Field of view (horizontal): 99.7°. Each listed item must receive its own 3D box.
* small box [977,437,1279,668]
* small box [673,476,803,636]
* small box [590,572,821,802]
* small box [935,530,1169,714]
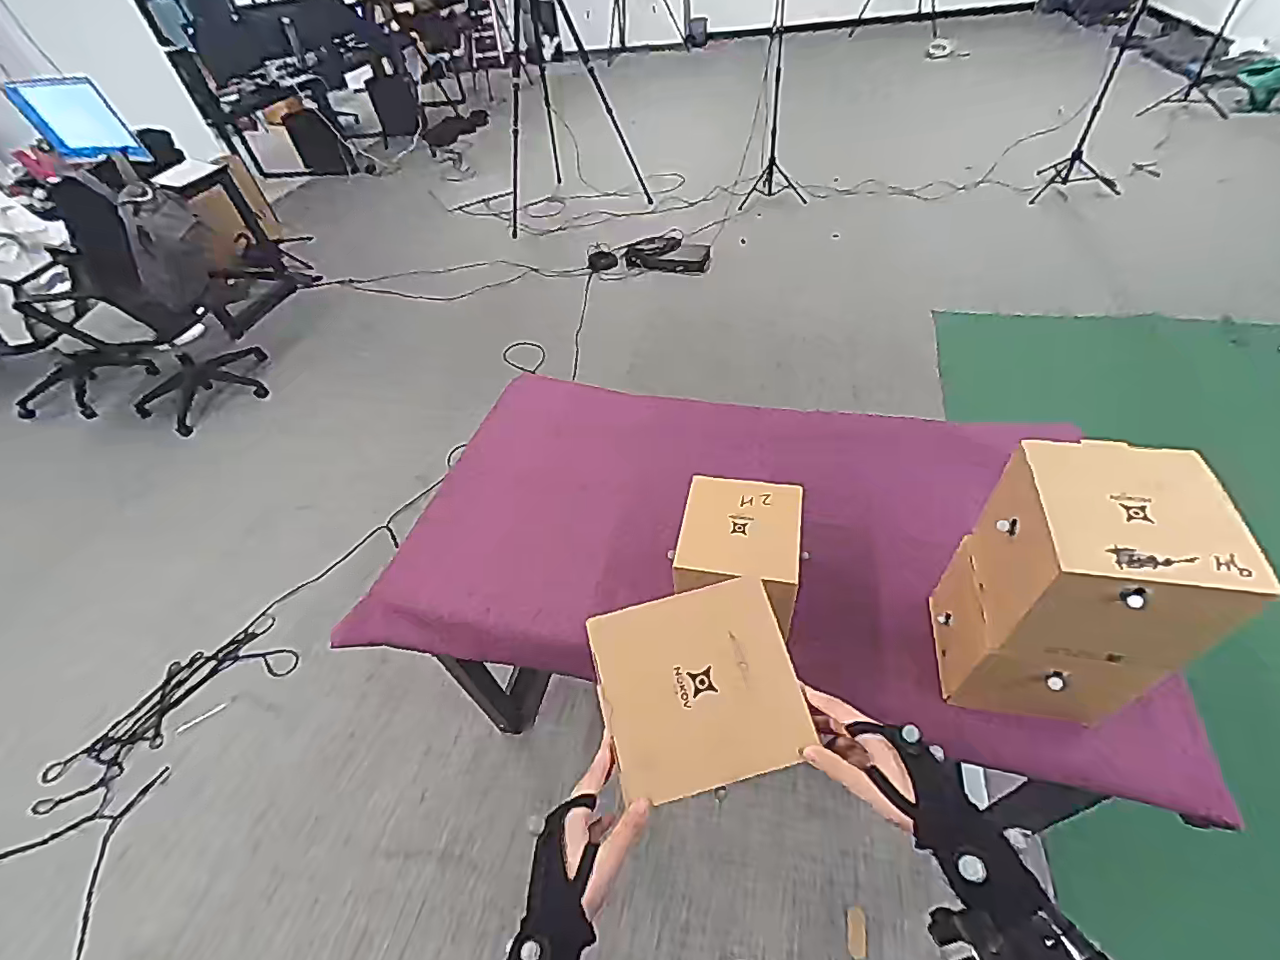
[{"bbox_3d":[0.488,0.075,0.582,0.168,0.176,0.179,3,49,15],"label":"small box"},{"bbox_3d":[0.153,0.118,0.823,0.168,0.176,0.179,6,48,14],"label":"small box"},{"bbox_3d":[0.060,0.214,0.561,0.179,0.176,0.168,-15,66,-2],"label":"small box"},{"bbox_3d":[0.507,0.186,0.701,0.179,0.176,0.168,3,49,15],"label":"small box"}]
